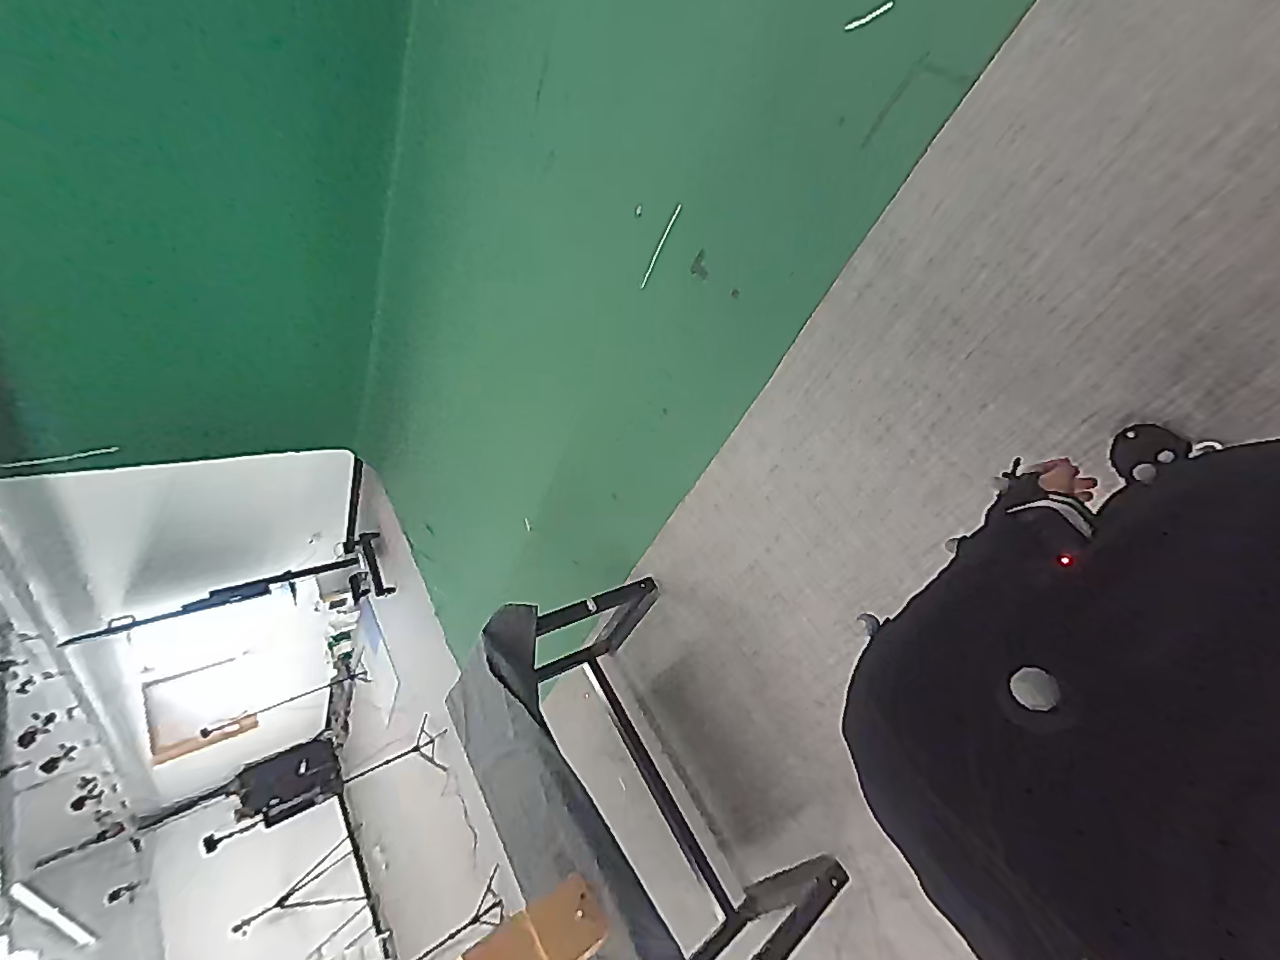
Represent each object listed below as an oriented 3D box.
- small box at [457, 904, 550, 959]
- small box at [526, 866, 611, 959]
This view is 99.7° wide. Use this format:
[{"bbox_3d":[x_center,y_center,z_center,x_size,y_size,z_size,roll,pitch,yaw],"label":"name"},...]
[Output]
[{"bbox_3d":[-0.329,1.205,1.330,0.179,0.176,0.168,50,131,31],"label":"small box"},{"bbox_3d":[-0.200,1.173,1.423,0.168,0.176,0.179,45,129,33],"label":"small box"}]
